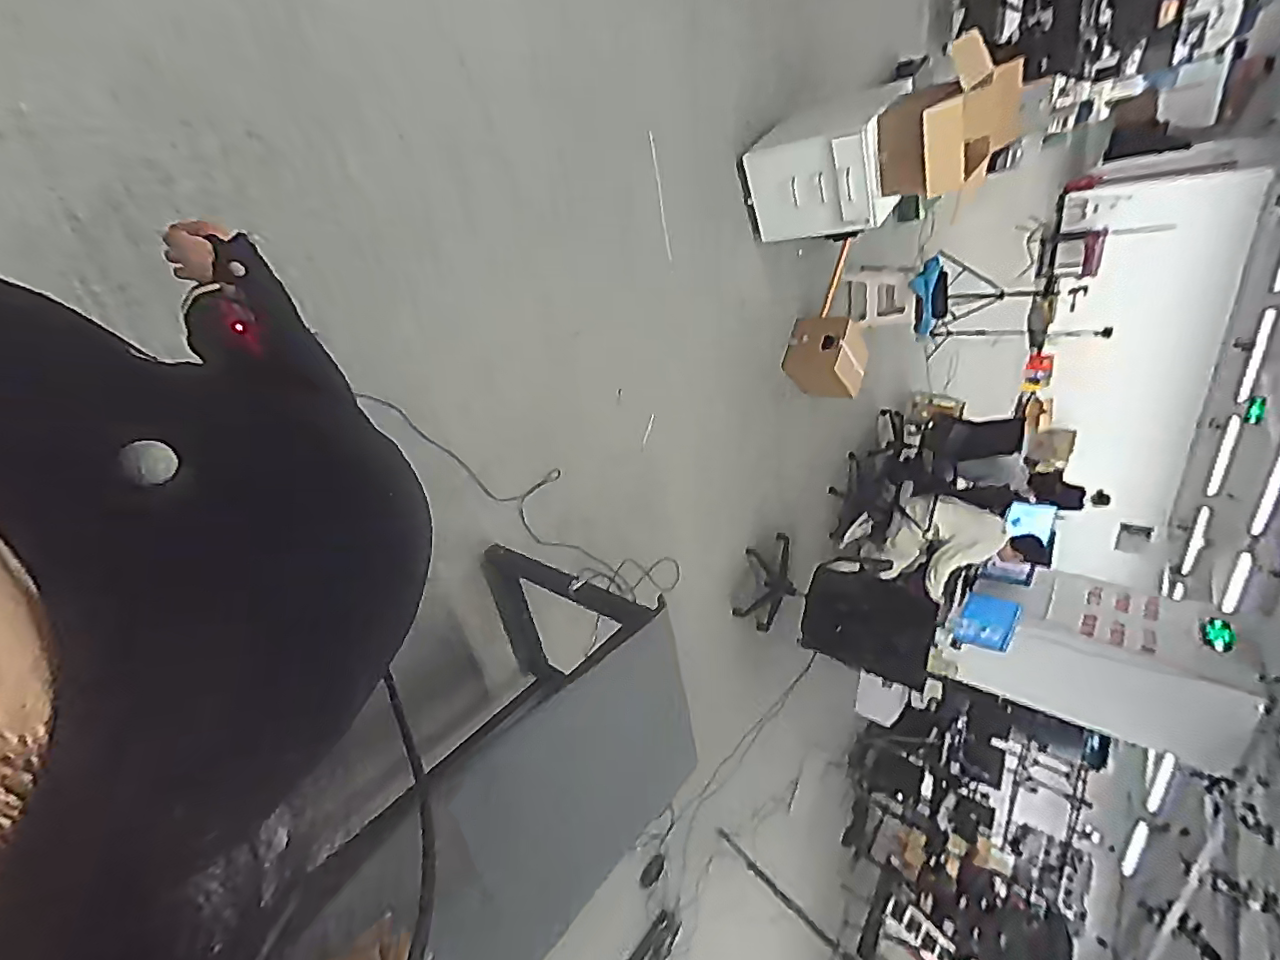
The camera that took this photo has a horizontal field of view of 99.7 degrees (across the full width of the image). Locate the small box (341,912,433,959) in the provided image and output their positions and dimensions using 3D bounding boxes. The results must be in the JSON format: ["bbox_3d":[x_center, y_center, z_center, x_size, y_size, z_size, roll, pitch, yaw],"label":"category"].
[{"bbox_3d":[-0.397,0.837,0.837,0.179,0.176,0.168,-30,121,-40],"label":"small box"}]
